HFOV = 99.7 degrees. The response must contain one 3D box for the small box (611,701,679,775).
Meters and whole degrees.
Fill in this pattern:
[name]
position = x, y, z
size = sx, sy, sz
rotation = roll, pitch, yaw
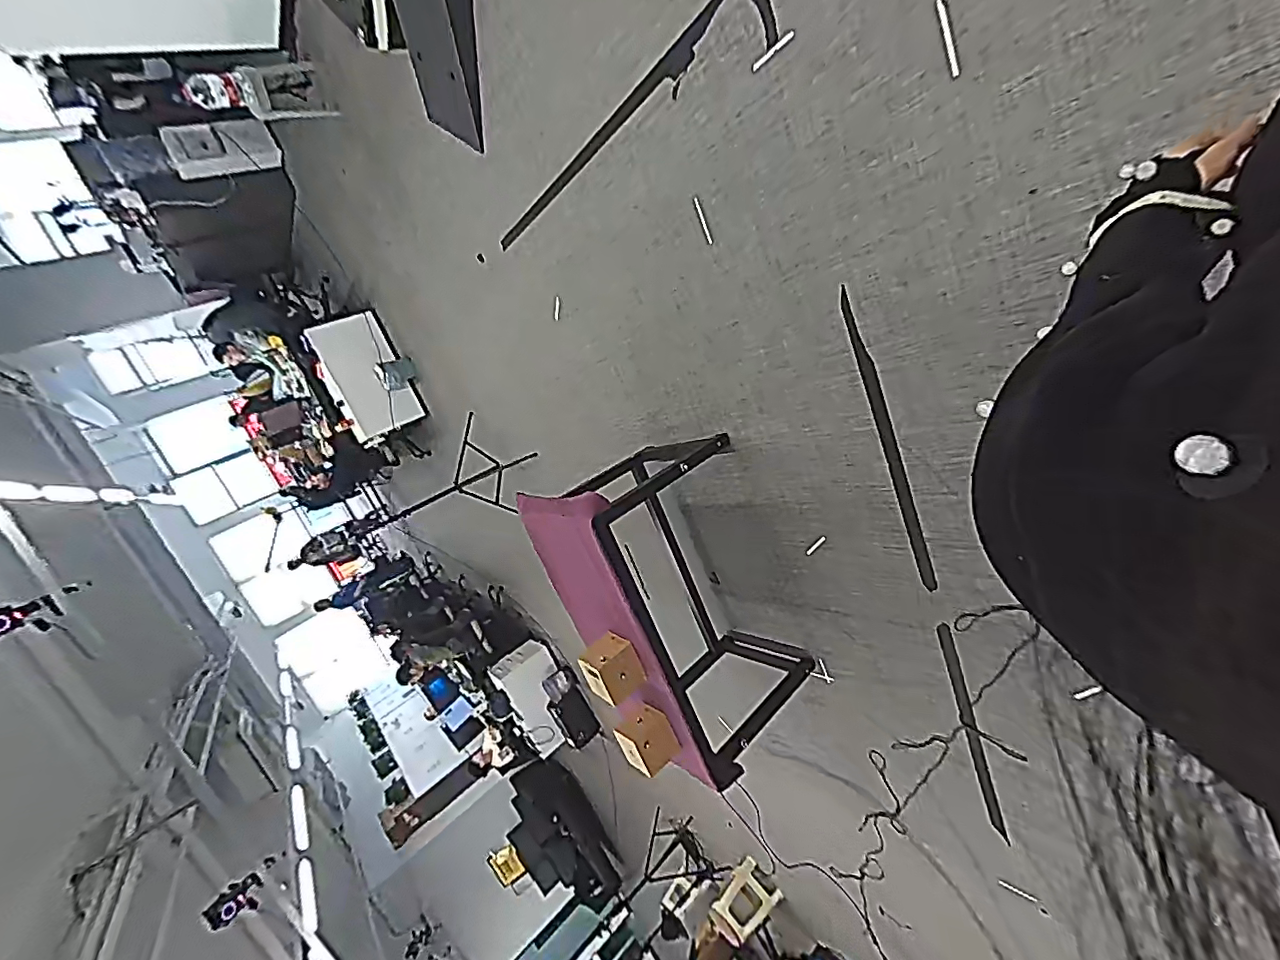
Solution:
[small box]
position = 0.021, 1.014, 2.145
size = 0.168, 0.176, 0.179
rotation = -6, 112, 58
